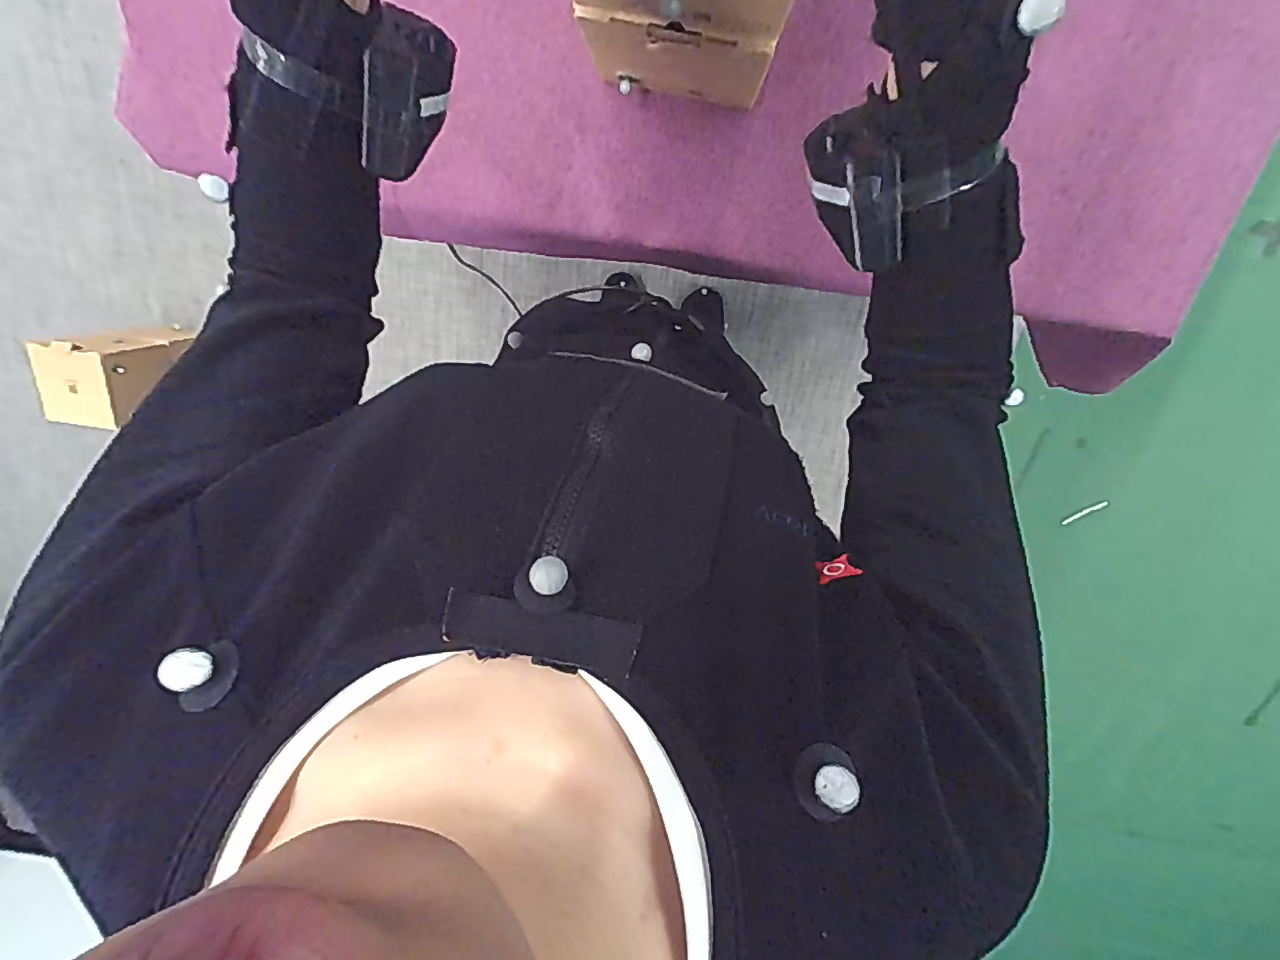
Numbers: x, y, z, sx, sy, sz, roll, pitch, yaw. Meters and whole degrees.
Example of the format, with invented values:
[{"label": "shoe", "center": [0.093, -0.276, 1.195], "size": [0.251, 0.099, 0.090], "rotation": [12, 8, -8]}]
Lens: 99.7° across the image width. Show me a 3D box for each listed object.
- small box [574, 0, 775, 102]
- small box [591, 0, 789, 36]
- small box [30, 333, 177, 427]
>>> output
[{"label": "small box", "center": [0.048, -0.466, 0.476], "size": [0.168, 0.176, 0.179], "rotation": [11, 111, 0]}, {"label": "small box", "center": [0.037, -0.414, 0.321], "size": [0.168, 0.176, 0.179], "rotation": [11, 112, 1]}, {"label": "small box", "center": [-1.241, -0.239, 1.270], "size": [0.168, 0.176, 0.179], "rotation": [8, 111, 1]}]
